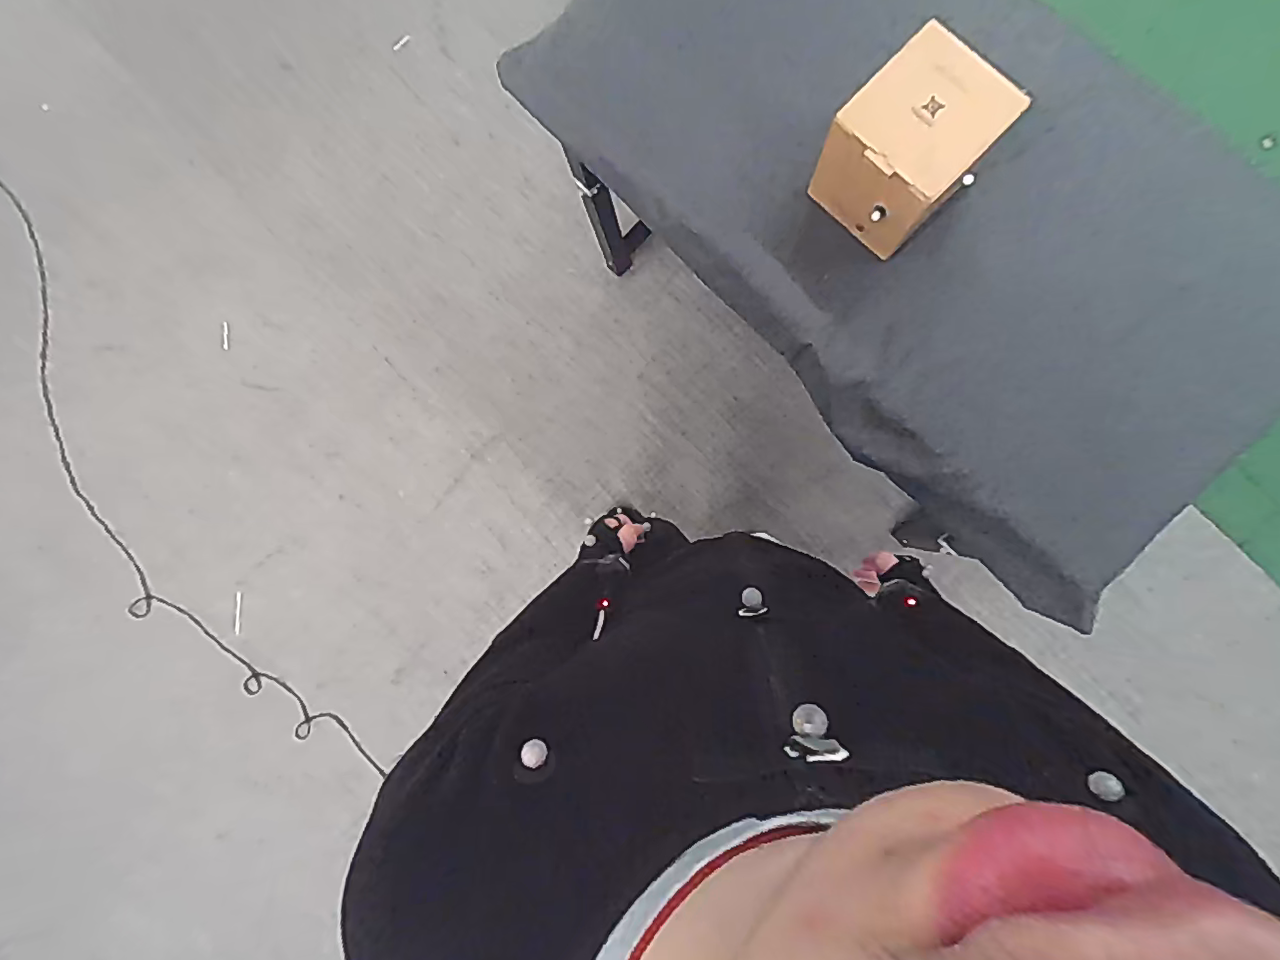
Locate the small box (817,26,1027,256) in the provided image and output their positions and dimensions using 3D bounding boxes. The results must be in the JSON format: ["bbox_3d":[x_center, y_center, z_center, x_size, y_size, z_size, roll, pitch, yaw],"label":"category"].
[{"bbox_3d":[0.373,-0.457,0.760,0.179,0.176,0.168,-45,85,1],"label":"small box"}]
